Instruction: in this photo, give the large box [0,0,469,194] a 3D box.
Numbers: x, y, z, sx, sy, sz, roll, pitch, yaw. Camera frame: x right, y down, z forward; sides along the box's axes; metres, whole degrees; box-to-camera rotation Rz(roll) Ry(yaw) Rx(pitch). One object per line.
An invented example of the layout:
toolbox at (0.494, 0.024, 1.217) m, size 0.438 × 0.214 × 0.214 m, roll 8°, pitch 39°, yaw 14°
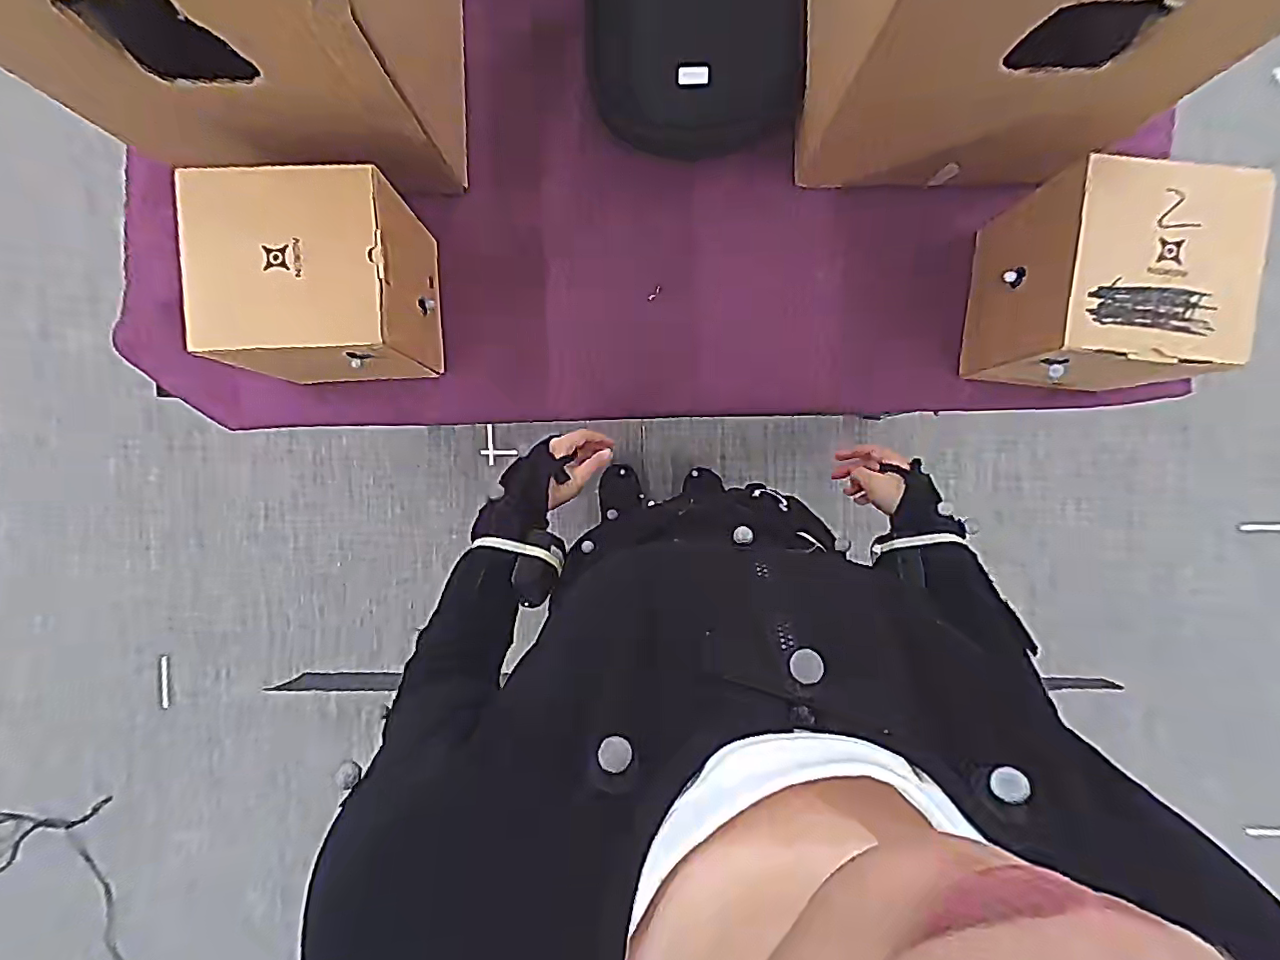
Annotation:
large box at (-0.359, -0.534, 0.493) m, size 0.320 × 0.320 × 0.408 m, roll -2°, pitch 95°, yaw -1°
